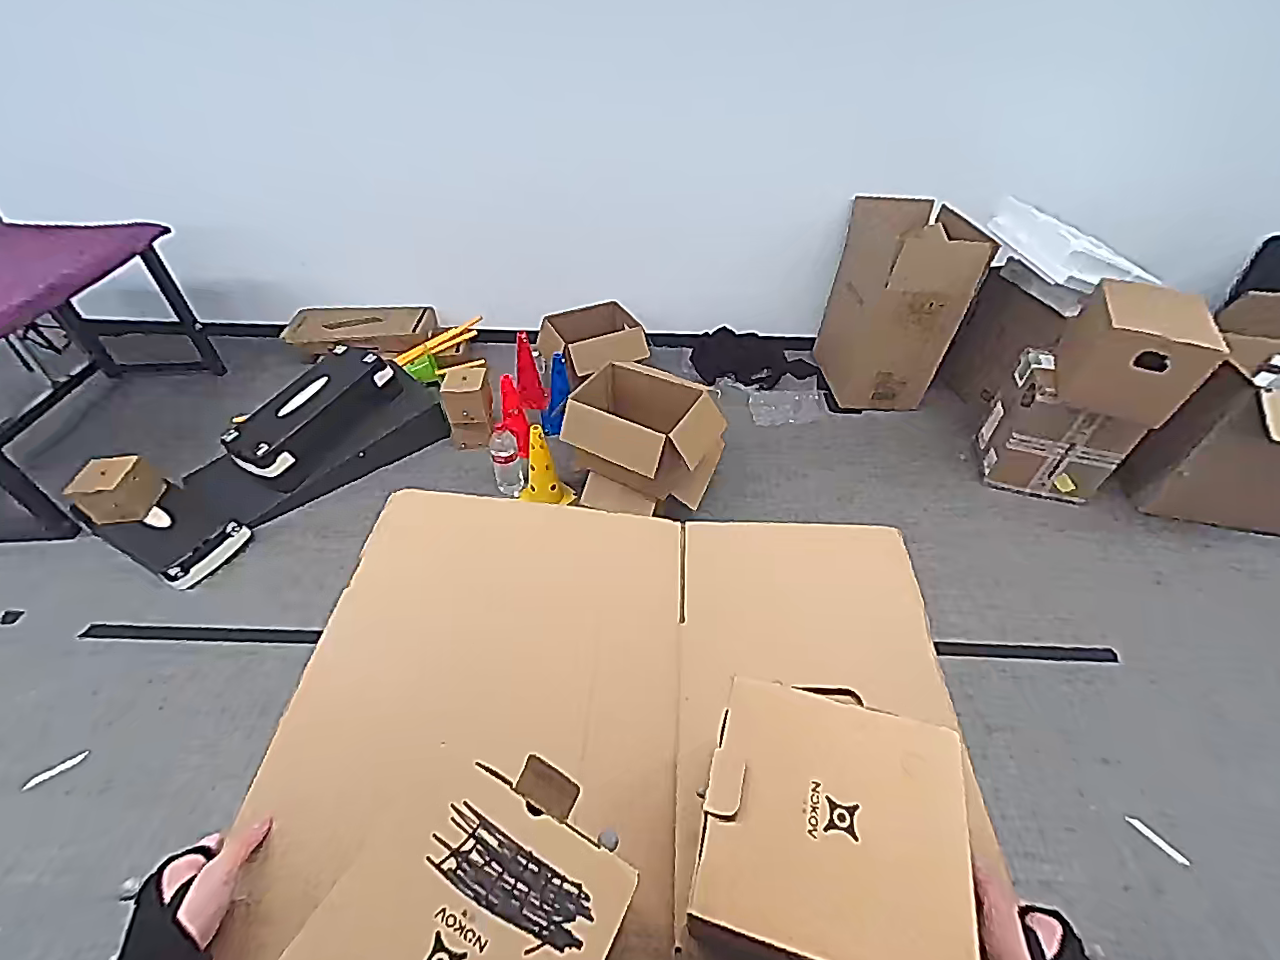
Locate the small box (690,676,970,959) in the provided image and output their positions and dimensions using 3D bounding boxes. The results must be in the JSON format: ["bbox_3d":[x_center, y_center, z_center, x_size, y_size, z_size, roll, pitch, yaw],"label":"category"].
[{"bbox_3d":[0.145,0.293,0.452,0.179,0.176,0.168,9,50,14],"label":"small box"}]
